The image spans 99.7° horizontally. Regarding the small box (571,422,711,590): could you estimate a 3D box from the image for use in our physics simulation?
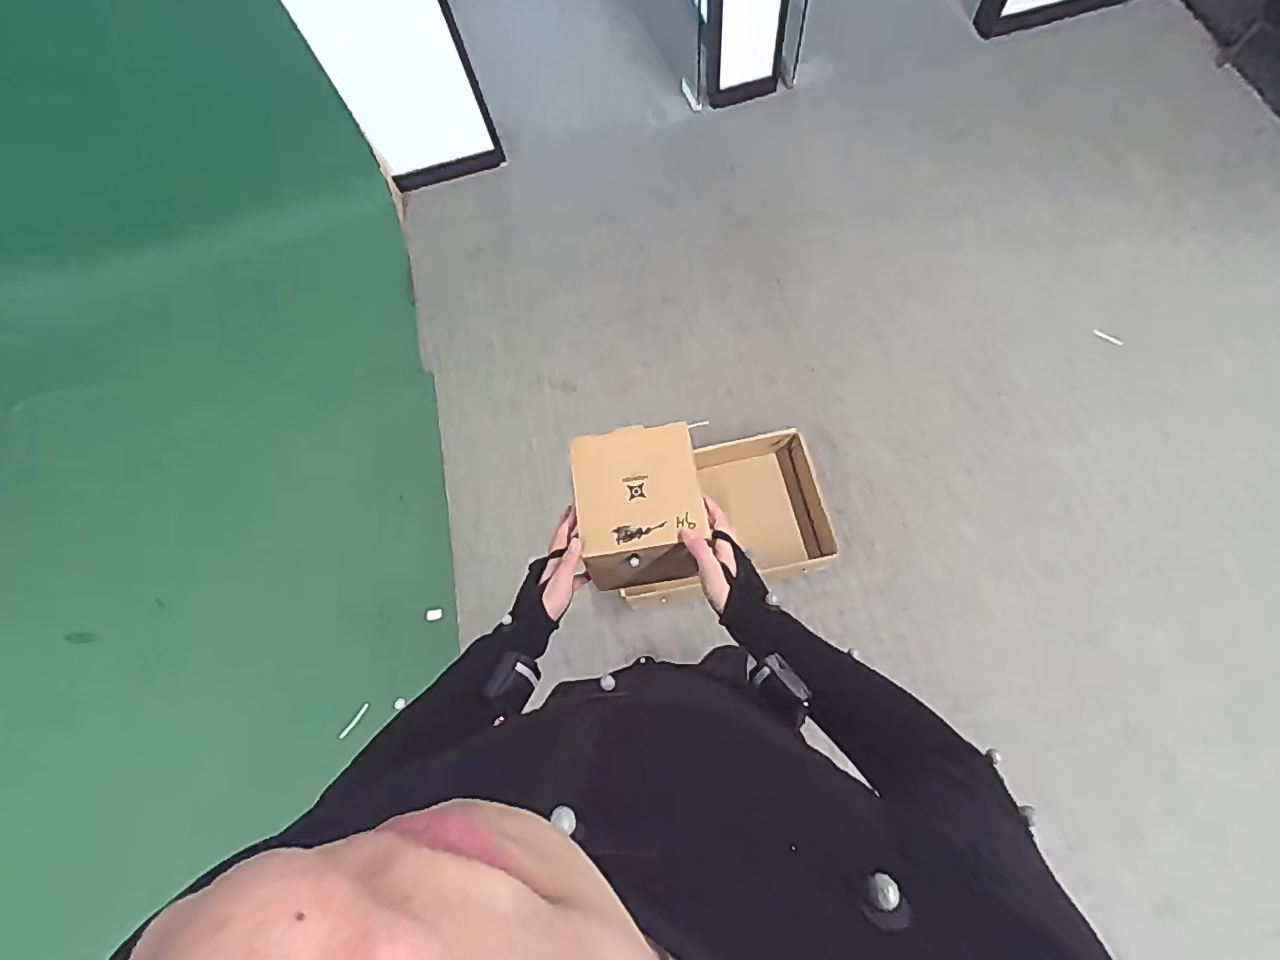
[{"bbox_3d":[-0.001,0.043,0.776,0.168,0.176,0.179,-9,65,-1],"label":"small box"}]
